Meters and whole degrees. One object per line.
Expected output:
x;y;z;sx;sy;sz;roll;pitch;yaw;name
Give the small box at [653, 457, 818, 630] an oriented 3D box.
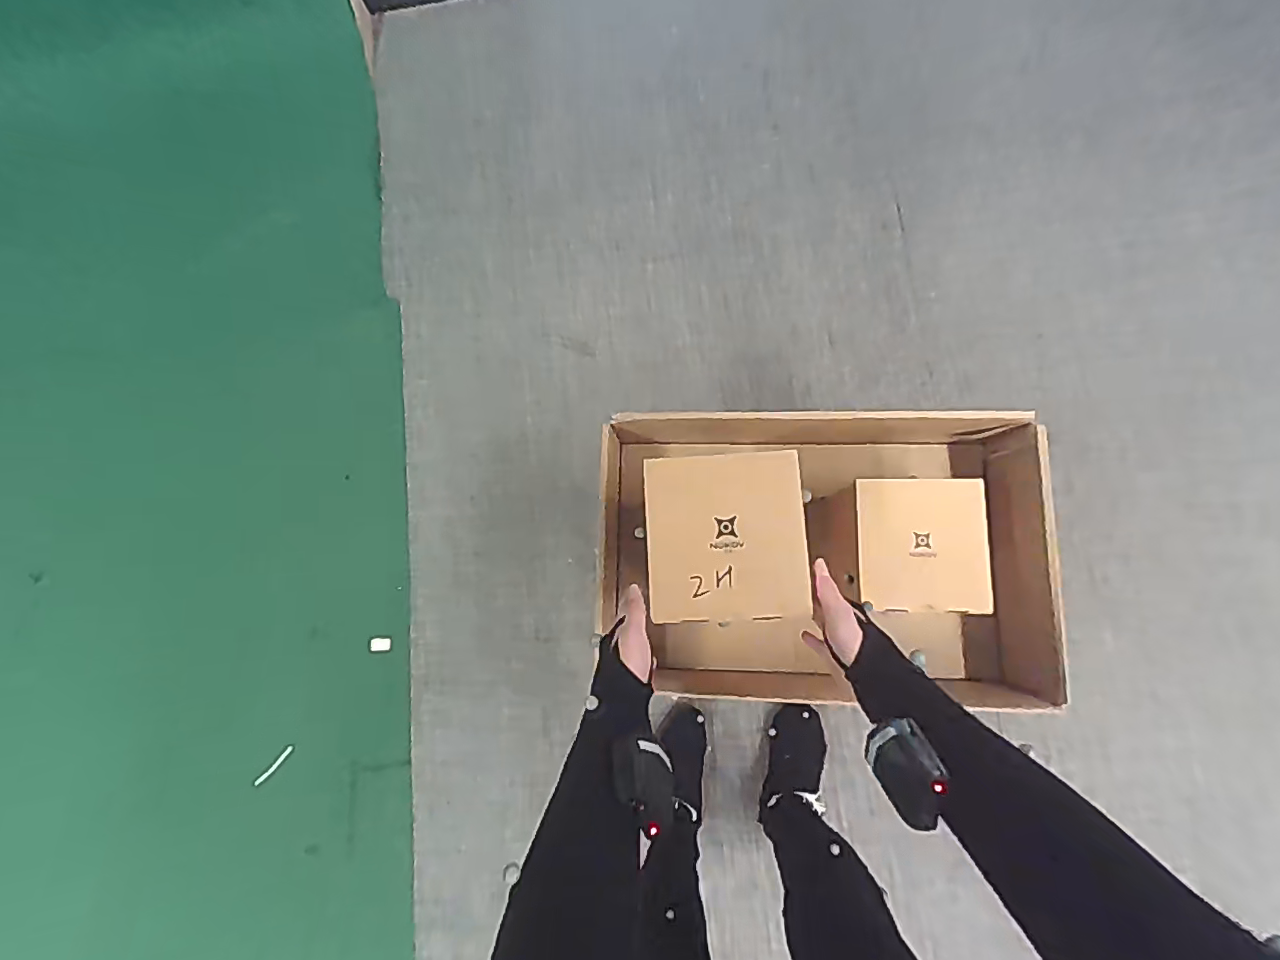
0.100;0.076;0.633;0.168;0.176;0.179;-2;82;4;small box
